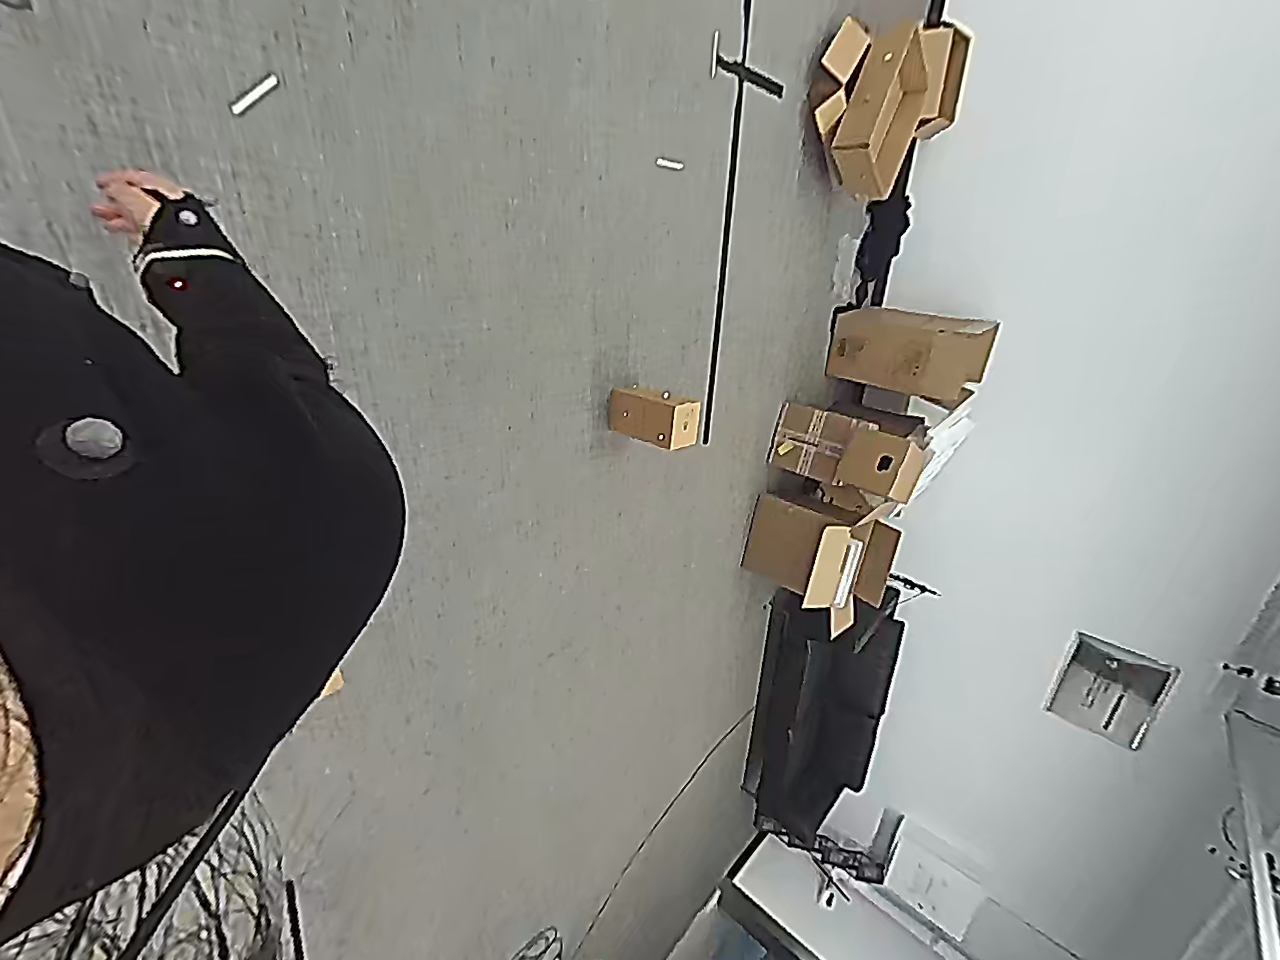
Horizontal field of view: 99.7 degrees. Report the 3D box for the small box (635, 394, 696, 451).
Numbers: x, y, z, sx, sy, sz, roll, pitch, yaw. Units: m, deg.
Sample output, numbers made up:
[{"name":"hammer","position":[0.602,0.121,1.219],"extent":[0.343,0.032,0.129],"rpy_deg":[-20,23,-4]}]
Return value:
[{"name":"small box","position":[0.096,-0.228,2.113],"extent":[0.168,0.176,0.179],"rpy_deg":[-17,119,-47]}]
